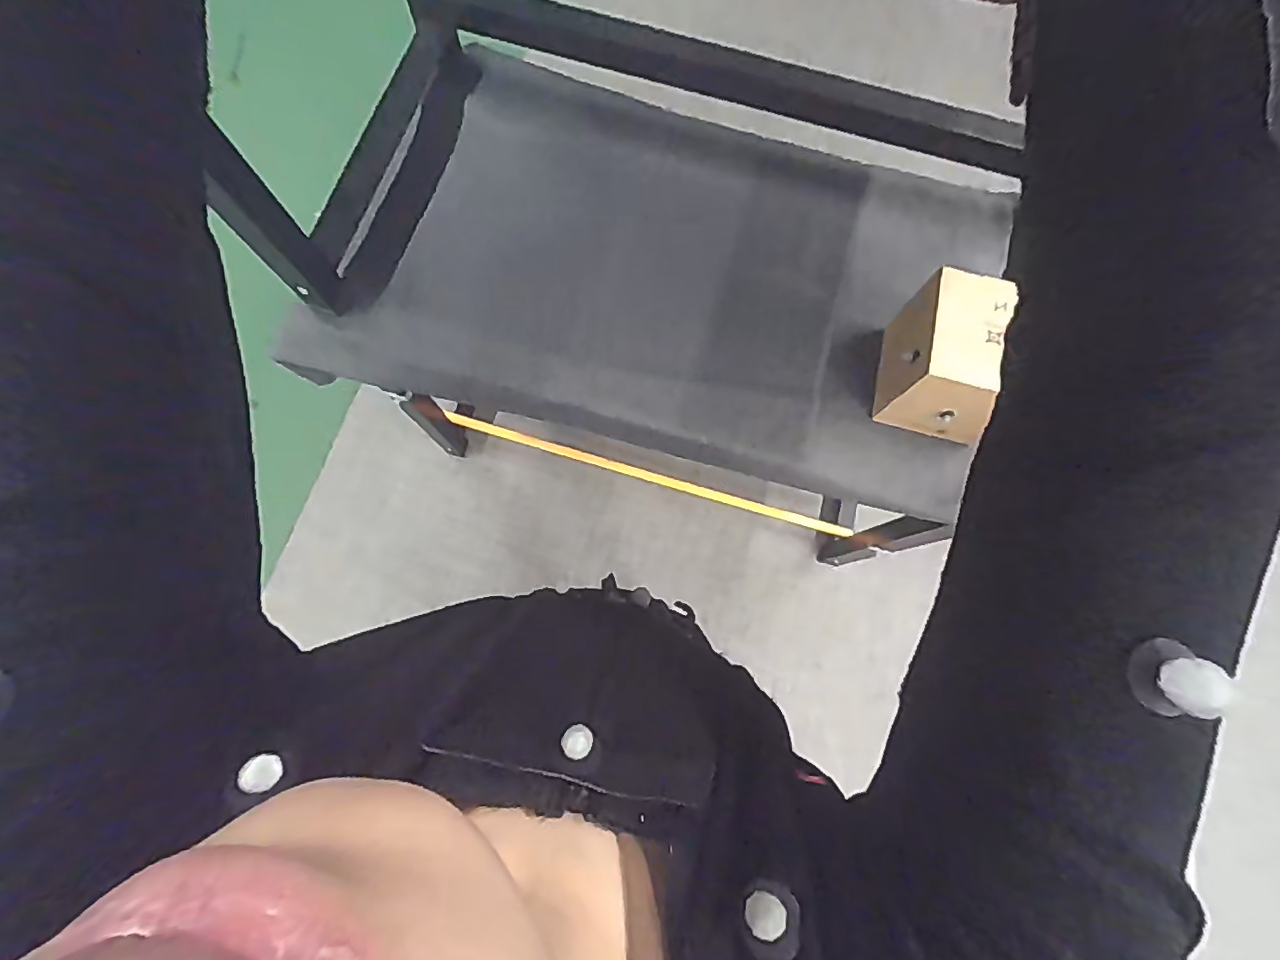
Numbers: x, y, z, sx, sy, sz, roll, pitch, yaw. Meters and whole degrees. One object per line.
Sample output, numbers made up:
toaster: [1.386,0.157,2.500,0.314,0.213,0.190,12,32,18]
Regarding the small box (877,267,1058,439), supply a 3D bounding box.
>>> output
small box: [0.478,-0.179,0.810,0.168,0.176,0.179,15,74,1]
